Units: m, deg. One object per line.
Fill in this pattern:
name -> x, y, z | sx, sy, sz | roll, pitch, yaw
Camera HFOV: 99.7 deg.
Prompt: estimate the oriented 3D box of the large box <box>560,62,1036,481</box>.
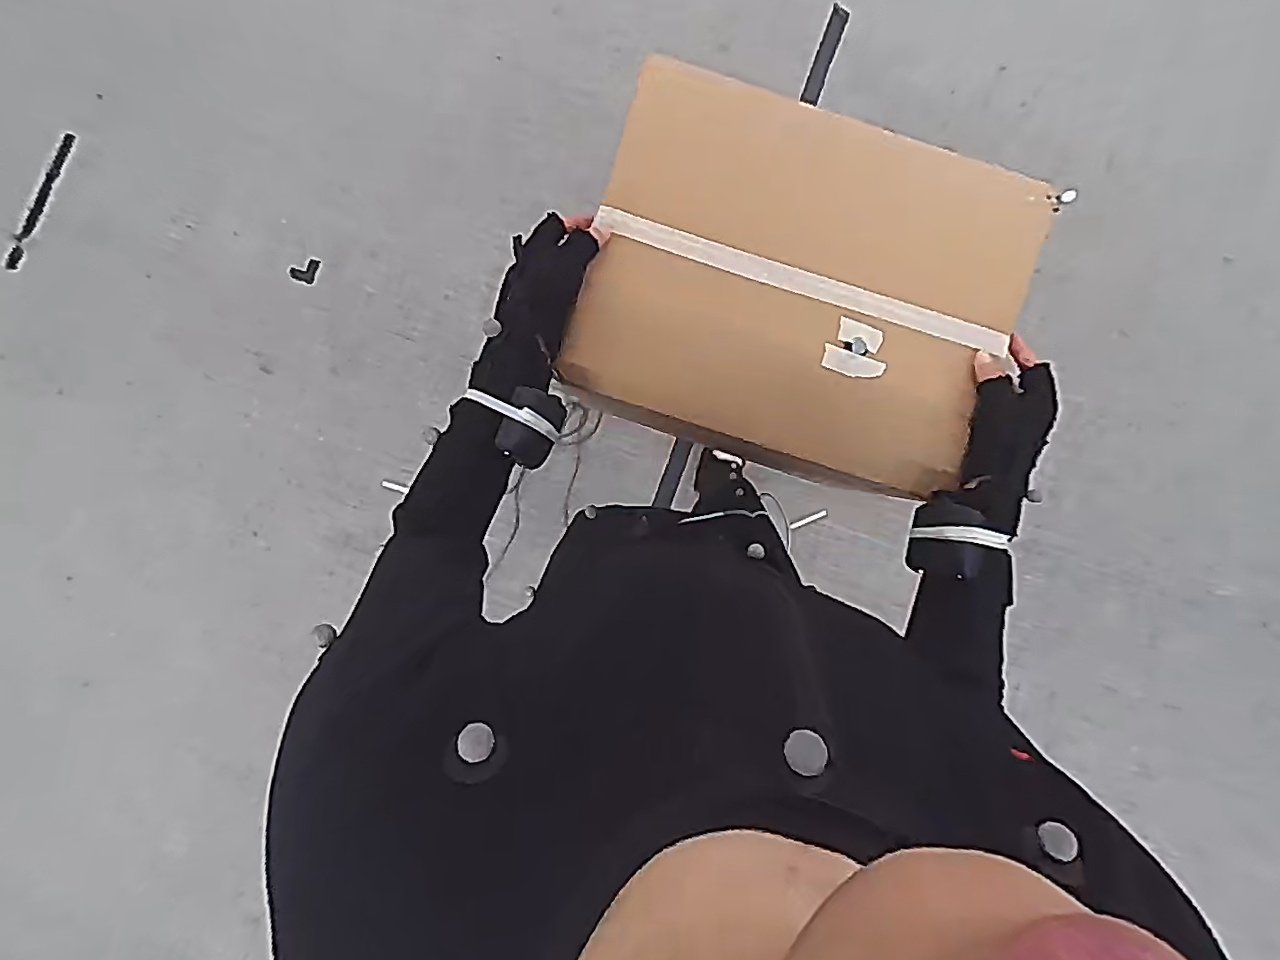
large box -> 0.150, -0.207, 0.674 | 0.408, 0.320, 0.320 | 18, 94, -1
